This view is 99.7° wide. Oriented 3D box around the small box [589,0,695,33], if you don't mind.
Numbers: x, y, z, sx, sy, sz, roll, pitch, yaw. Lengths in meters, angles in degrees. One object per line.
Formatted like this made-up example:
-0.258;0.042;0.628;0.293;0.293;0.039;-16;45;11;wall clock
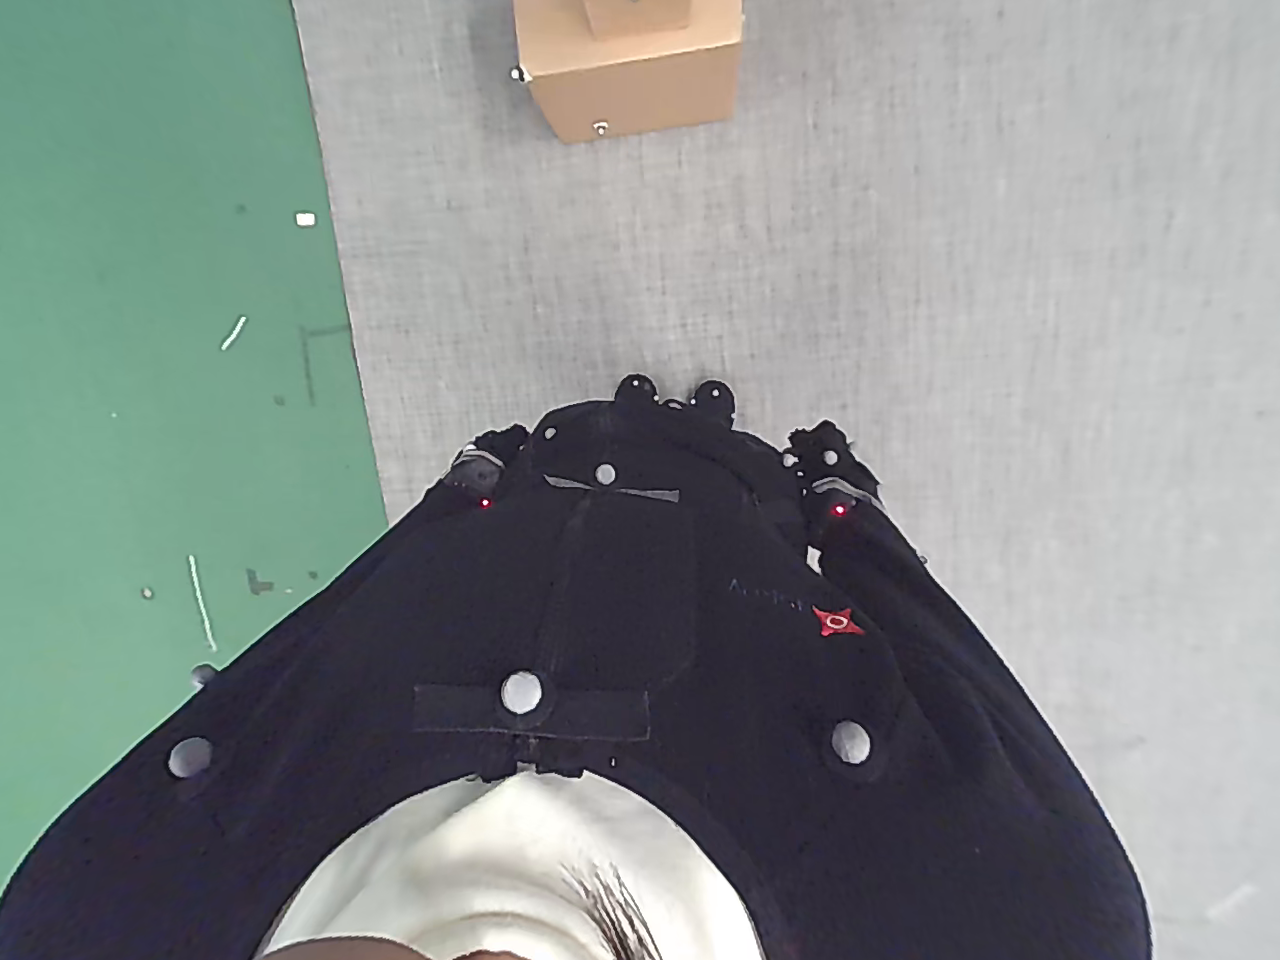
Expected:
-0.006;-0.856;0.858;0.179;0.176;0.168;-4;103;7;small box
